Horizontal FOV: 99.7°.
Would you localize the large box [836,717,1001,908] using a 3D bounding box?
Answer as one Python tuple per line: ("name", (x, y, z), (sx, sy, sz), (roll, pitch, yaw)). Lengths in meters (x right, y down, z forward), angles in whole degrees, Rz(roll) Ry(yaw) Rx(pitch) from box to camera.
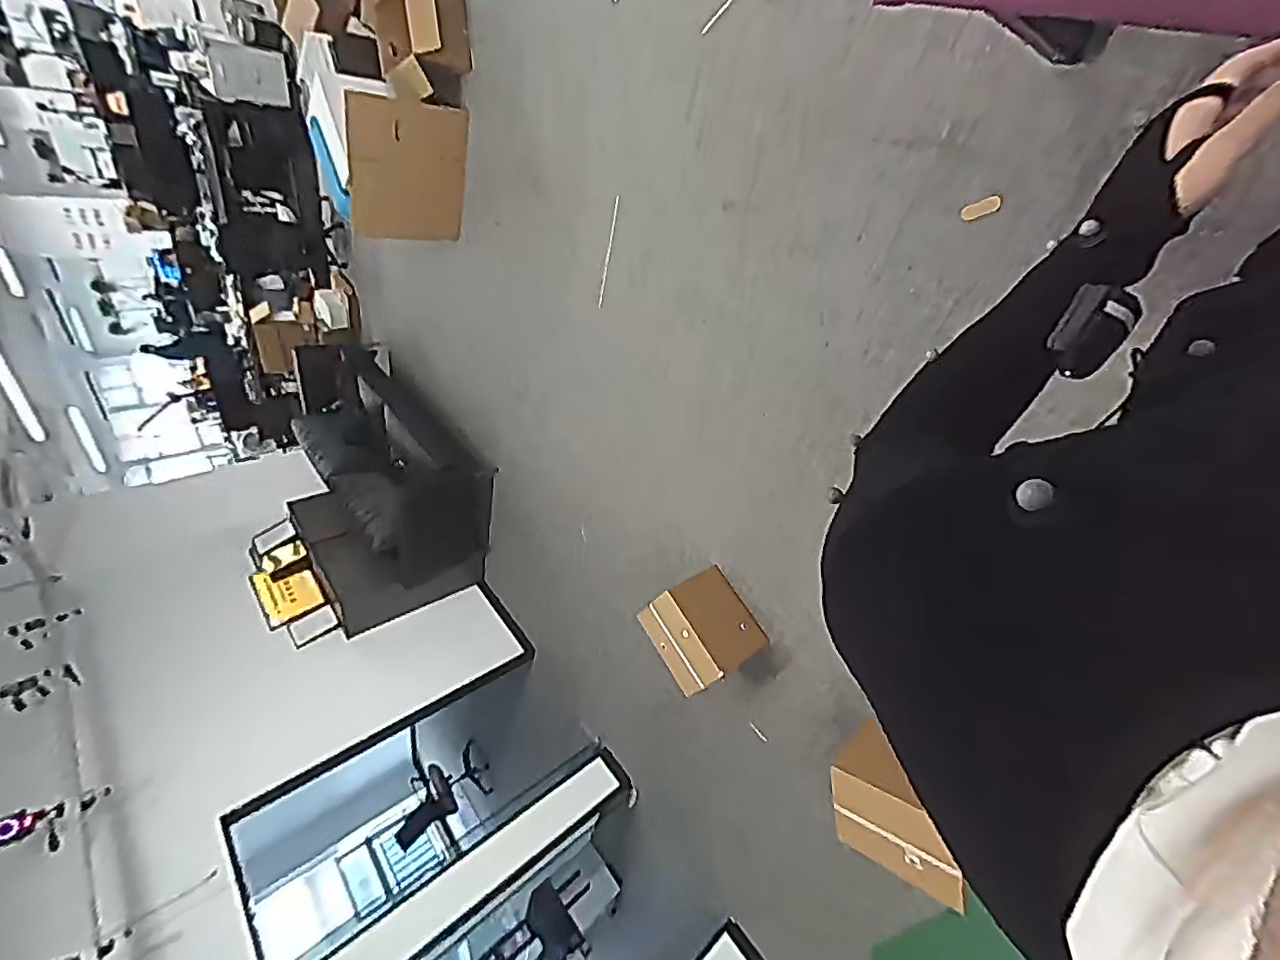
("large box", (0.919, 1.061, 1.789), (0.408, 0.320, 0.320), (5, 110, 48))
